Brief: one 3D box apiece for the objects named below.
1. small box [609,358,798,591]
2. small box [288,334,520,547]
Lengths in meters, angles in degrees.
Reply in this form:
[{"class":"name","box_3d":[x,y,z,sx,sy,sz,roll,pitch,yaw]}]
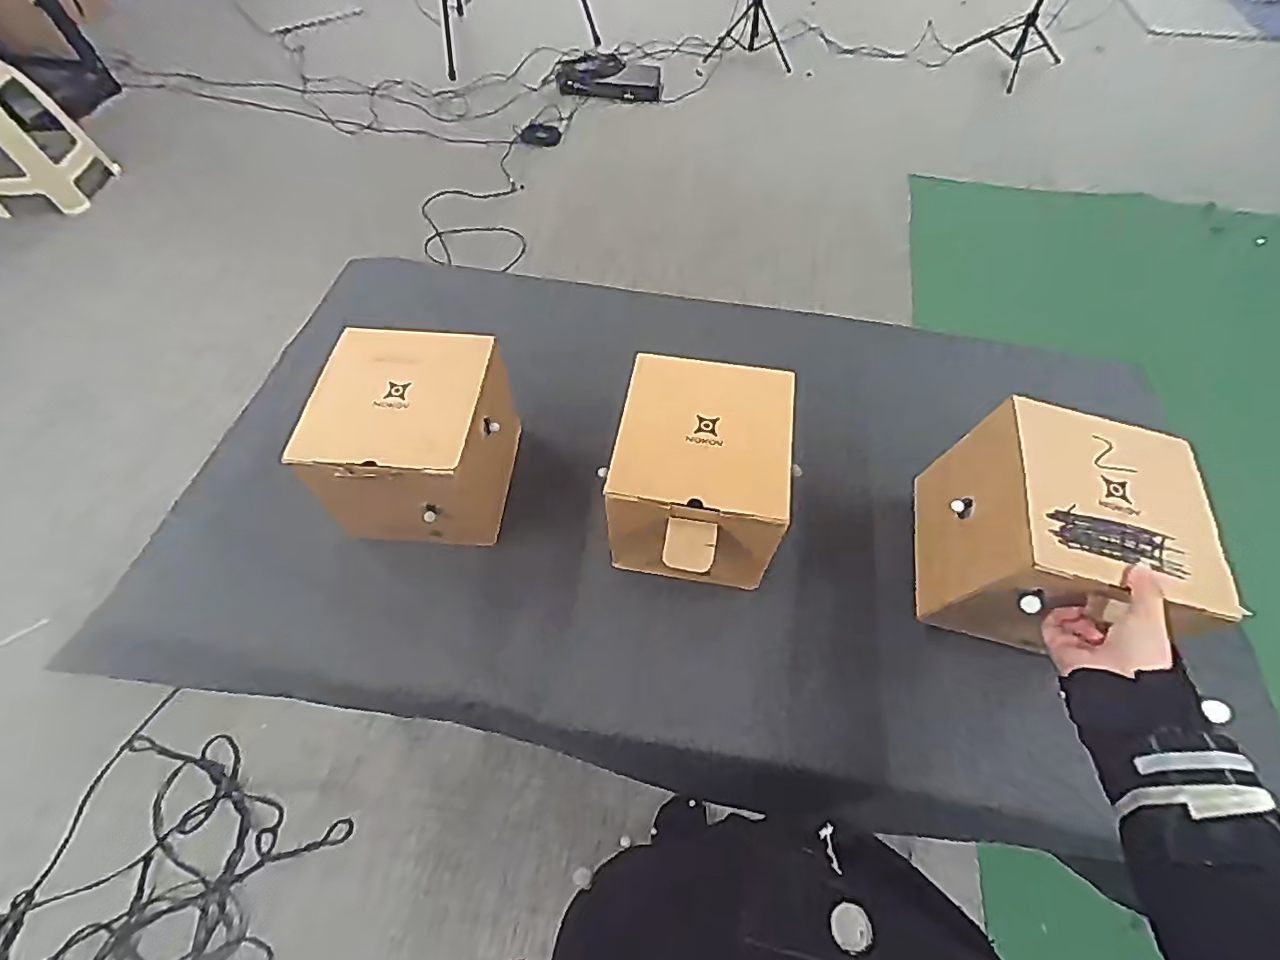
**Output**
[{"class":"small box","box_3d":[0.065,-0.001,0.584,0.168,0.176,0.179,9,59,5]},{"class":"small box","box_3d":[-0.240,-0.038,0.607,0.168,0.176,0.179,4,57,1]}]
